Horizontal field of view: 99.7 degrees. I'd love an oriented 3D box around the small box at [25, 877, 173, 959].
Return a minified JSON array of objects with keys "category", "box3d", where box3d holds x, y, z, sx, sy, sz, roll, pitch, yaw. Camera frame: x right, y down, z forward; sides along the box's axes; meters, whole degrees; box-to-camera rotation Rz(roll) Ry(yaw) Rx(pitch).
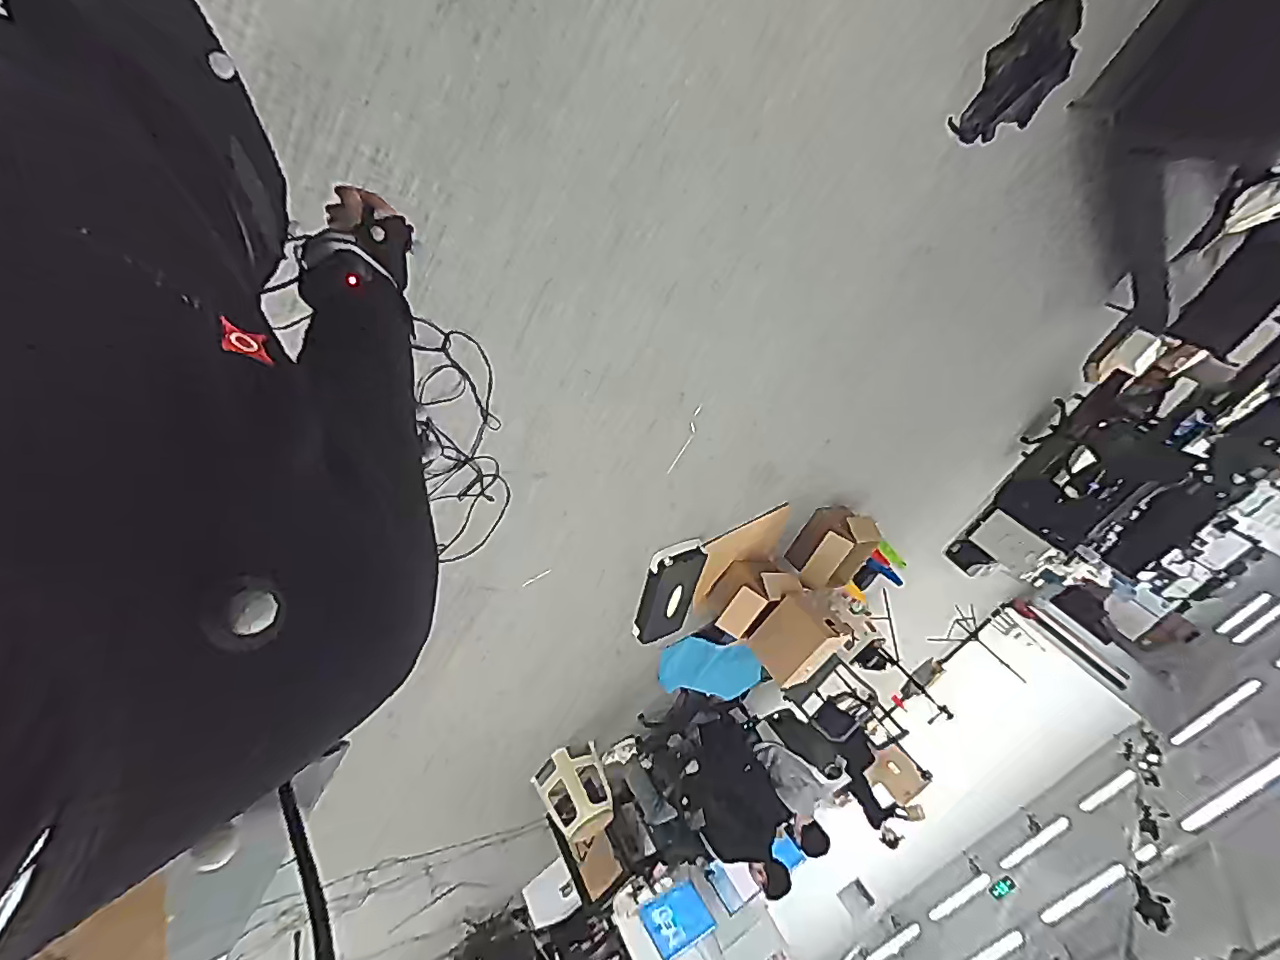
[{"category":"small box","box3d":[-0.901,0.814,0.897,0.179,0.176,0.168,6,124,-45]}]
